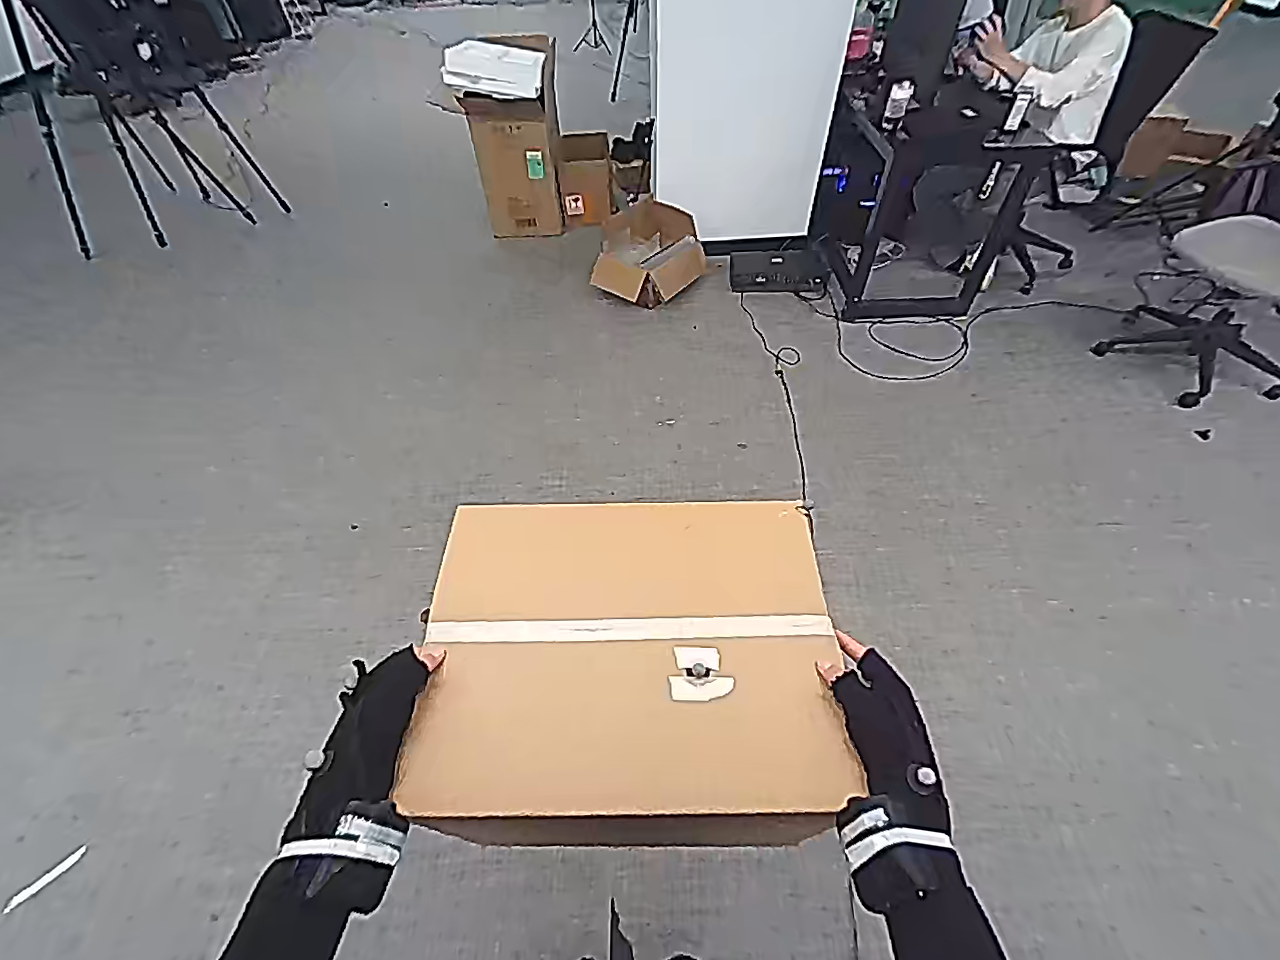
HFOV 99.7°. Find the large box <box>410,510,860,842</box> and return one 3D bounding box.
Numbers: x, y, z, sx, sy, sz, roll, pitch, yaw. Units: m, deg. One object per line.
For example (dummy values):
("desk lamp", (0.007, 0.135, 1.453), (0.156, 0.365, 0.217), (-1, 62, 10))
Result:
("large box", (-0.007, 0.252, 0.677), (0.408, 0.320, 0.320), (0, 53, 0))
